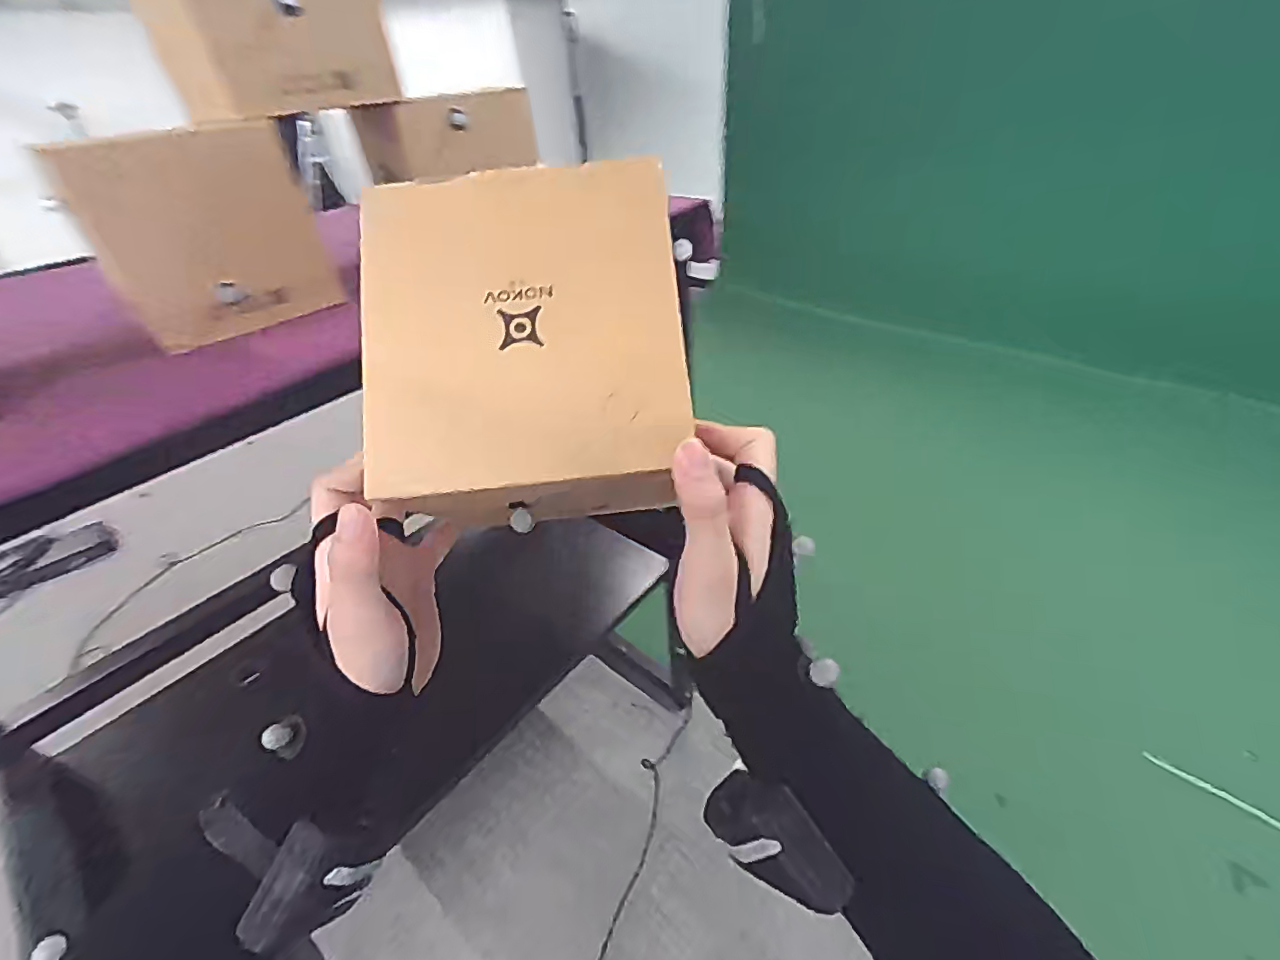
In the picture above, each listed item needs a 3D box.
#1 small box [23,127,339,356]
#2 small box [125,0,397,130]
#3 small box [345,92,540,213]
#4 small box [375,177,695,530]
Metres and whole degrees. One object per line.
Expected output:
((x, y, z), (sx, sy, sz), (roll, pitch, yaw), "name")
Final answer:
((-0.440, -0.240, 0.536), (0.179, 0.176, 0.168), (28, 49, 35), "small box")
((-0.366, -0.442, 0.517), (0.179, 0.176, 0.168), (27, 48, 36), "small box")
((-0.245, -0.387, 0.700), (0.168, 0.176, 0.179), (-32, 44, -28), "small box")
((-0.055, -0.061, 0.364), (0.168, 0.176, 0.179), (-6, 79, 1), "small box")
